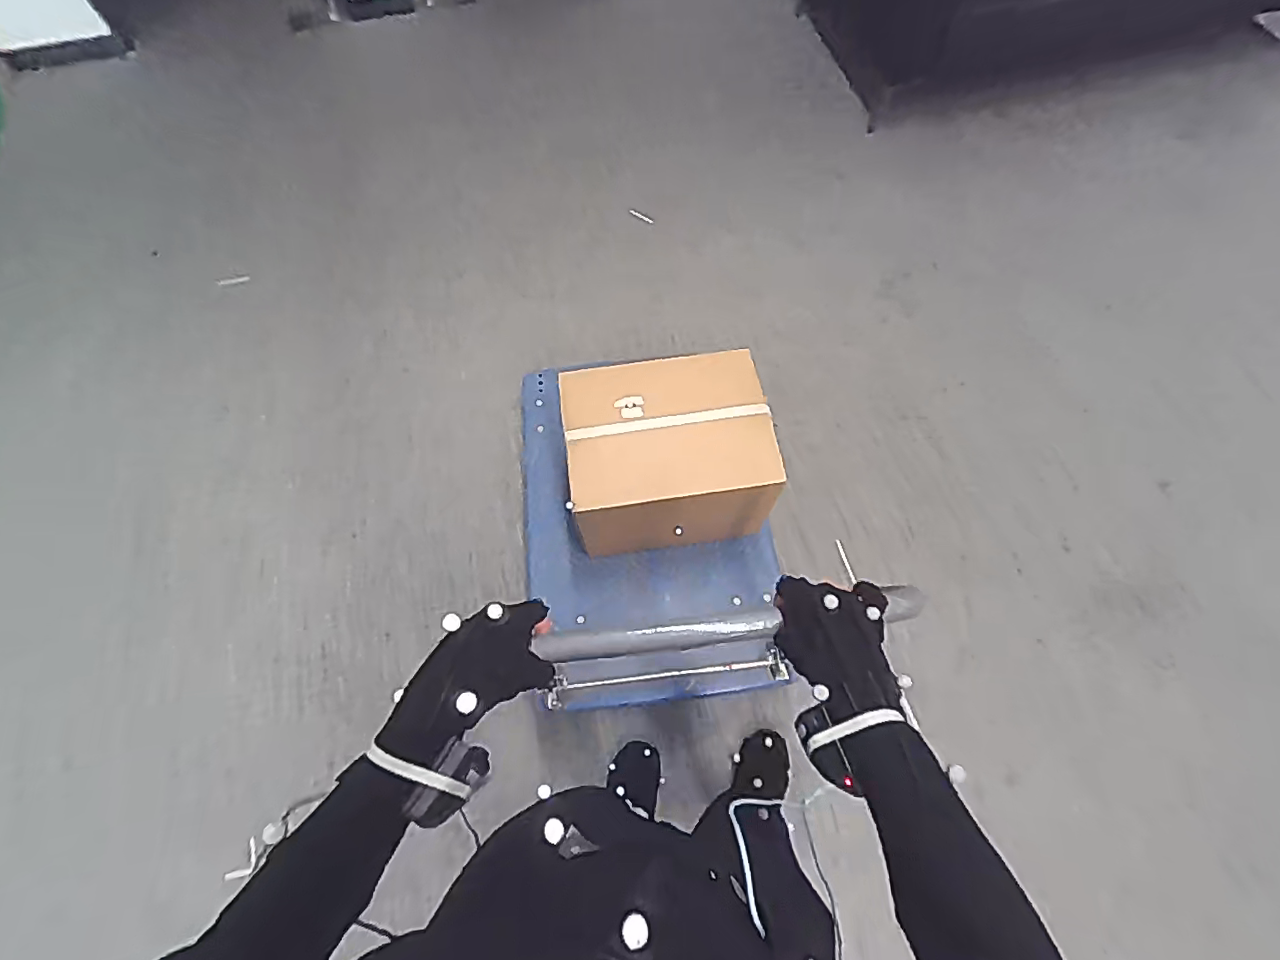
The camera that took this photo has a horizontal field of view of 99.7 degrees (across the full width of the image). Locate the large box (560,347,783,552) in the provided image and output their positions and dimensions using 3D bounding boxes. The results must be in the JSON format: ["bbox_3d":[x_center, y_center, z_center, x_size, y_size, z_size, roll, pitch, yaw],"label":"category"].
[{"bbox_3d":[0.060,-0.052,1.212,0.408,0.320,0.320,-10,67,-2],"label":"large box"}]
